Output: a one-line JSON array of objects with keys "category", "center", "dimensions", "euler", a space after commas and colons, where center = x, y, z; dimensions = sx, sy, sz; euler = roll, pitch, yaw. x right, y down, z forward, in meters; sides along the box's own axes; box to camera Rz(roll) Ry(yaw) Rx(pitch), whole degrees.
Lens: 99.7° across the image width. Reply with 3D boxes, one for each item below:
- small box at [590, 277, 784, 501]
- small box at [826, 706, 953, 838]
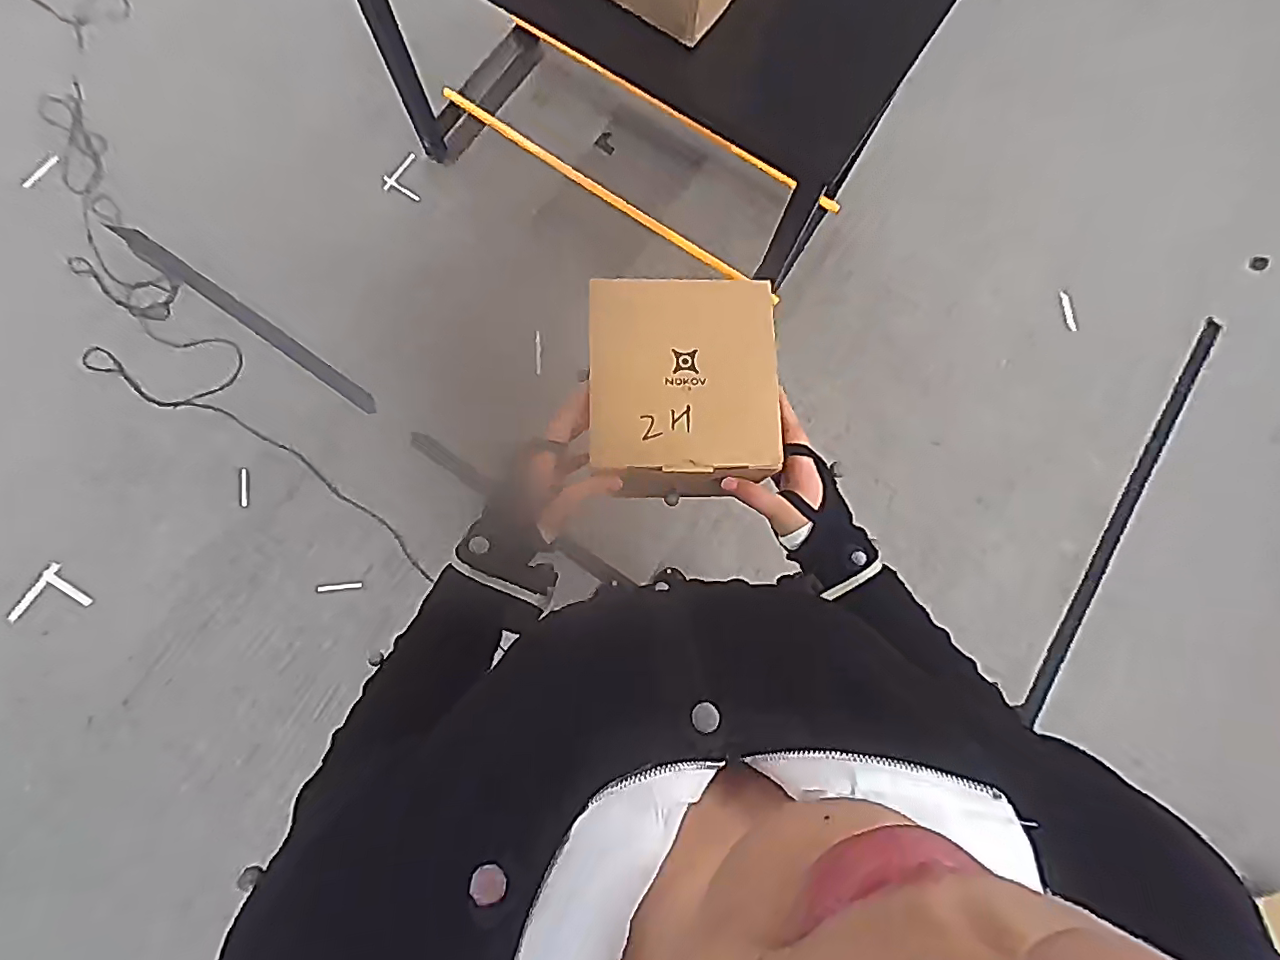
[{"category": "small box", "center": [0.034, -0.079, 0.543], "dimensions": [0.168, 0.176, 0.179], "euler": [0, 79, -3]}, {"category": "small box", "center": [0.546, 0.639, 1.211], "dimensions": [0.168, 0.176, 0.179], "euler": [33, 80, 4]}]
